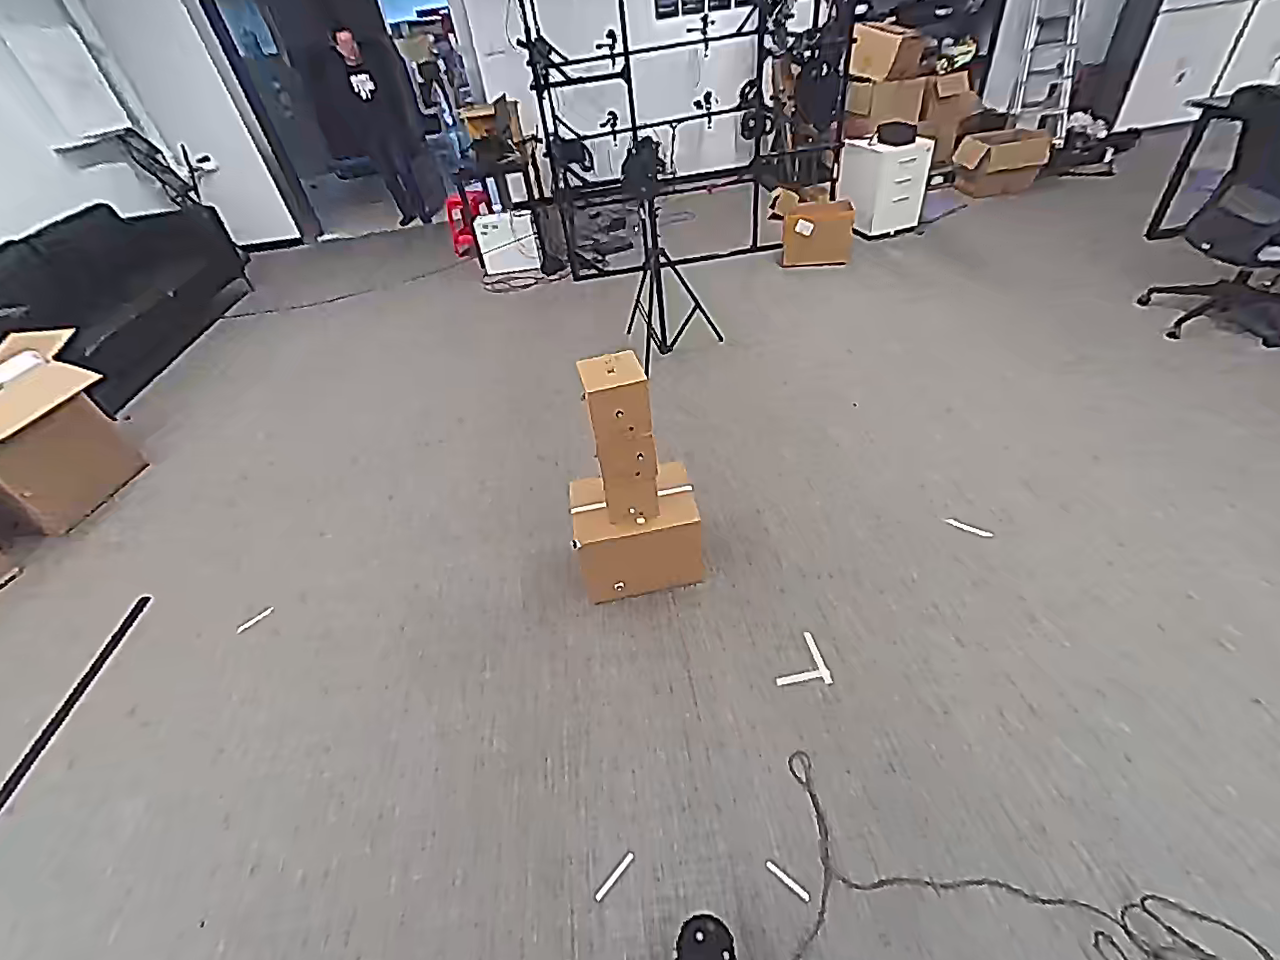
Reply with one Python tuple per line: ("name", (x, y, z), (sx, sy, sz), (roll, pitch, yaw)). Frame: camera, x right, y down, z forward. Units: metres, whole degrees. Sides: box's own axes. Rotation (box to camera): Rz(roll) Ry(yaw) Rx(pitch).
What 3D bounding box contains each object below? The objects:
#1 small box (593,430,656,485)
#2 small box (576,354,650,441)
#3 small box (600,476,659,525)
("small box", (-0.051, -0.100, 1.621), (0.168, 0.176, 0.179), (-11, 40, -5))
("small box", (-0.073, -0.225, 1.516), (0.168, 0.176, 0.179), (-13, 42, -8))
("small box", (-0.039, 0.018, 1.732), (0.168, 0.176, 0.179), (-11, 42, -3))
